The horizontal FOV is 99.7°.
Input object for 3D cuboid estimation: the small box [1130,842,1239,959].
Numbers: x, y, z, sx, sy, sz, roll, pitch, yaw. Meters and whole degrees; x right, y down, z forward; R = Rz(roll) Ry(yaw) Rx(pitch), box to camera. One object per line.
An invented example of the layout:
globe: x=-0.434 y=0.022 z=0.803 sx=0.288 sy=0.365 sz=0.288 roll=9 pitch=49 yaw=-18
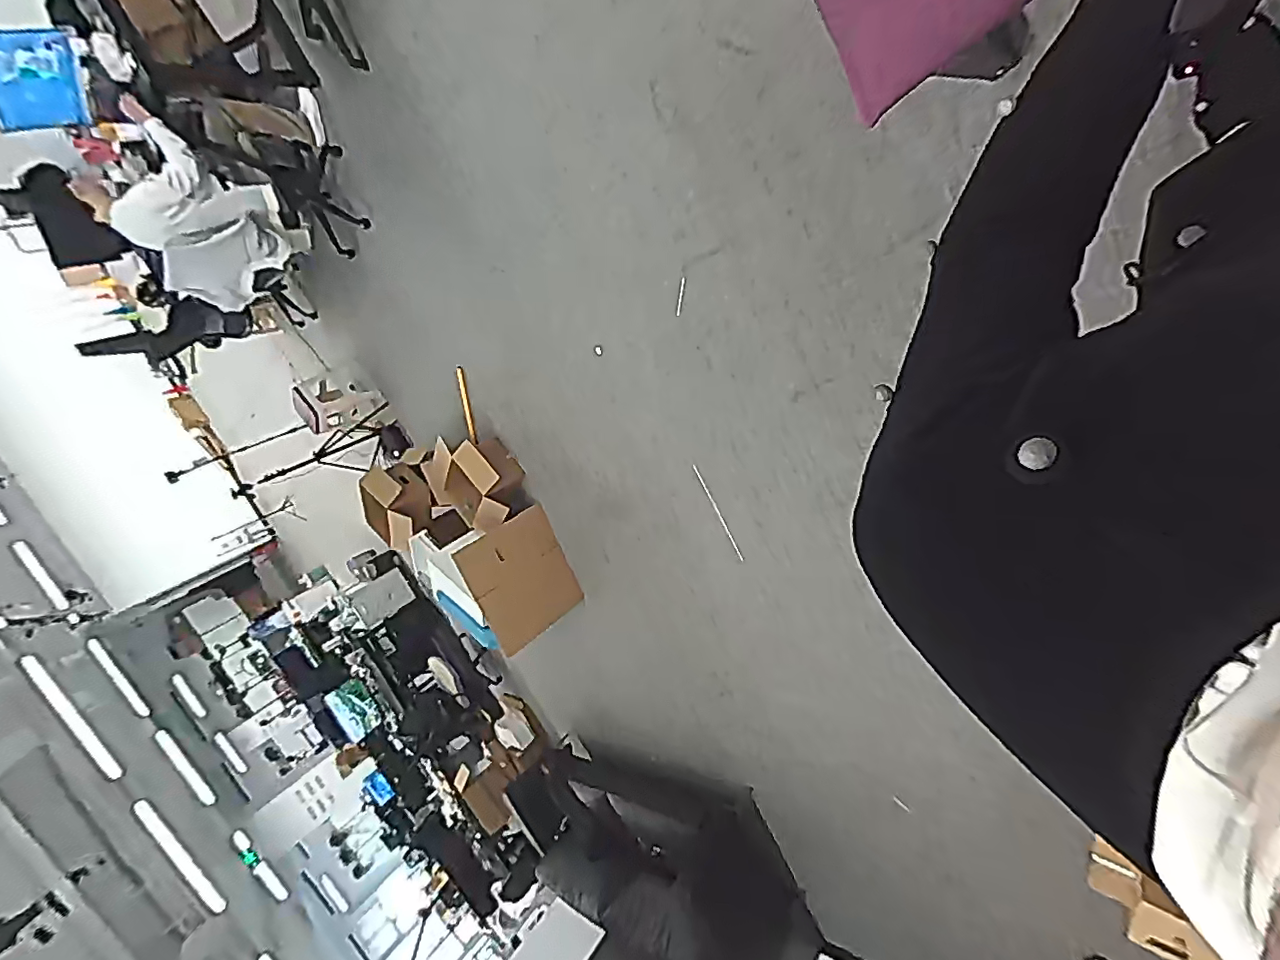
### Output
small box: x=1.359 y=1.069 z=1.354 sx=0.168 sy=0.176 sz=0.179 roll=10 pitch=122 yaw=41
